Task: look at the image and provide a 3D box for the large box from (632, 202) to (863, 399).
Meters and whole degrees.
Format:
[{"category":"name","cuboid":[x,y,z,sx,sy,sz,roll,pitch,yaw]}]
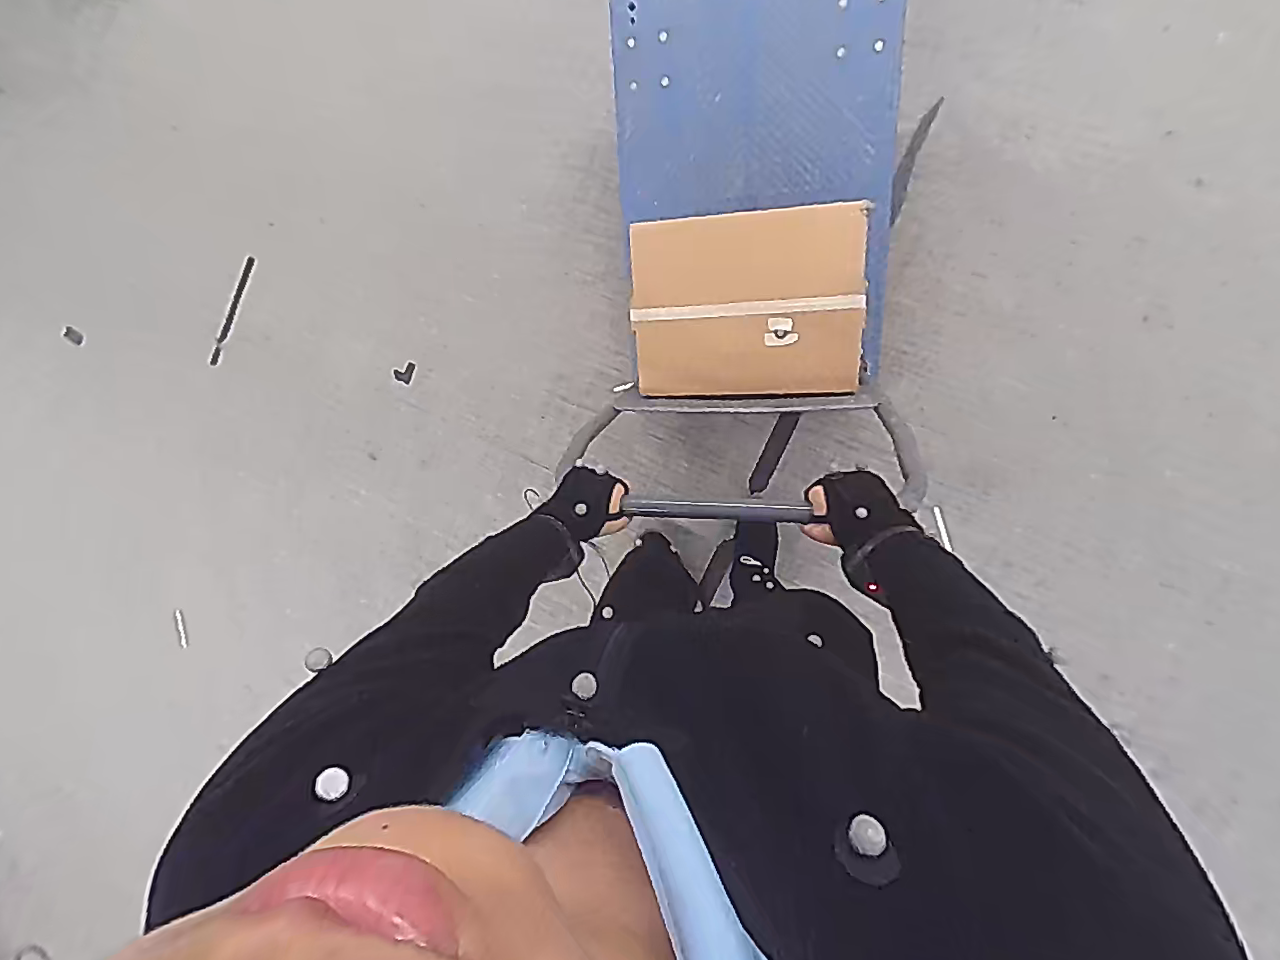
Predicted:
[{"category":"large box","cuboid":[0.222,-0.355,1.123,0.408,0.320,0.320,0,108,14]}]
